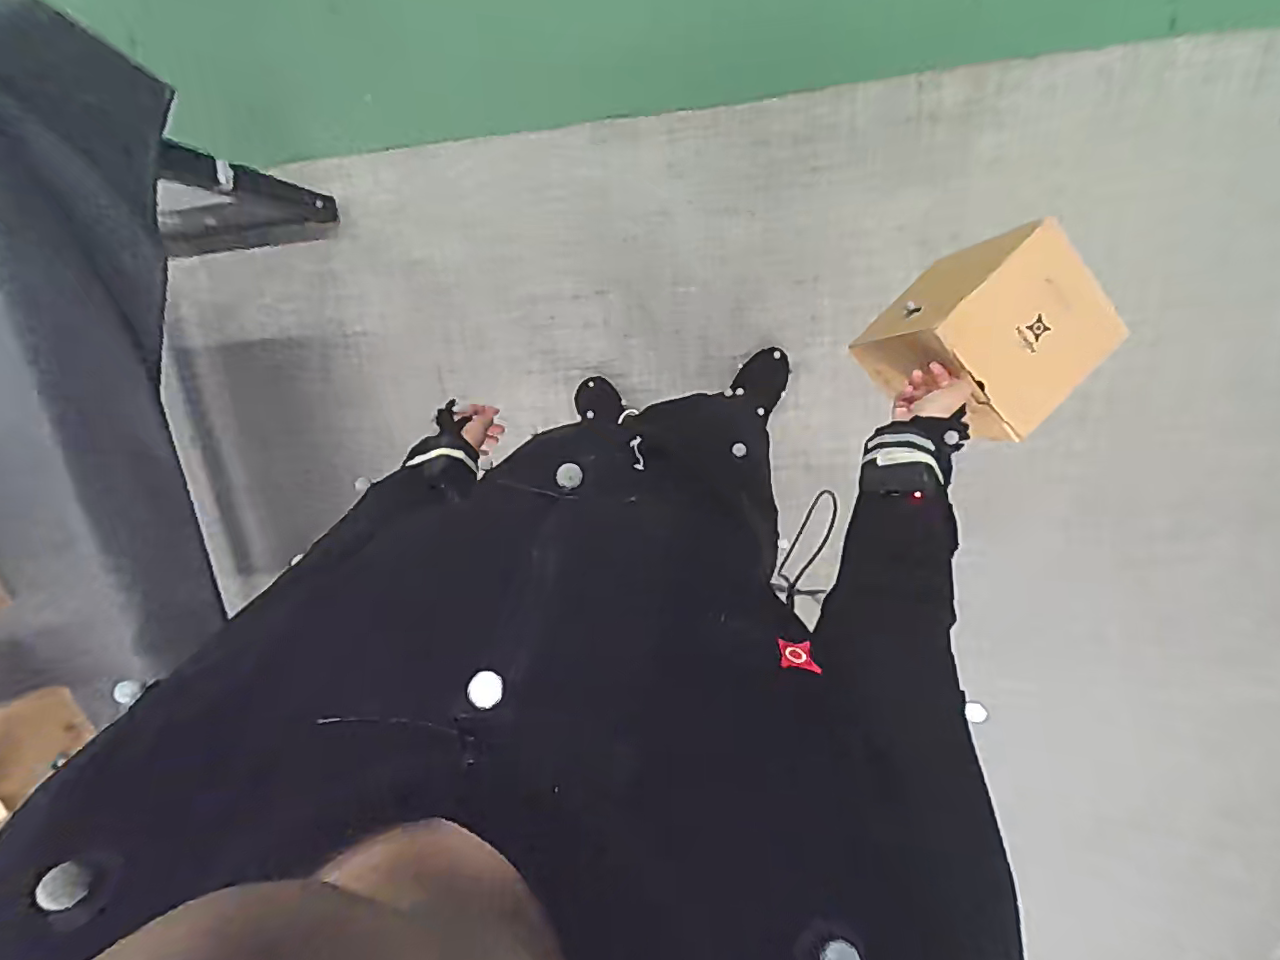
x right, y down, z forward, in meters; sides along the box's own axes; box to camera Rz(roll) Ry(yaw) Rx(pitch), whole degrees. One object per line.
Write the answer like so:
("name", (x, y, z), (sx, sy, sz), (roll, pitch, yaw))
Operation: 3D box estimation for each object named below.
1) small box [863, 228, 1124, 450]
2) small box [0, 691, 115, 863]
("small box", (0.401, -0.155, 0.649), (0.179, 0.176, 0.168), (-44, 103, -3))
("small box", (-0.899, 0.422, 0.739), (0.179, 0.176, 0.168), (-19, 102, 10))
